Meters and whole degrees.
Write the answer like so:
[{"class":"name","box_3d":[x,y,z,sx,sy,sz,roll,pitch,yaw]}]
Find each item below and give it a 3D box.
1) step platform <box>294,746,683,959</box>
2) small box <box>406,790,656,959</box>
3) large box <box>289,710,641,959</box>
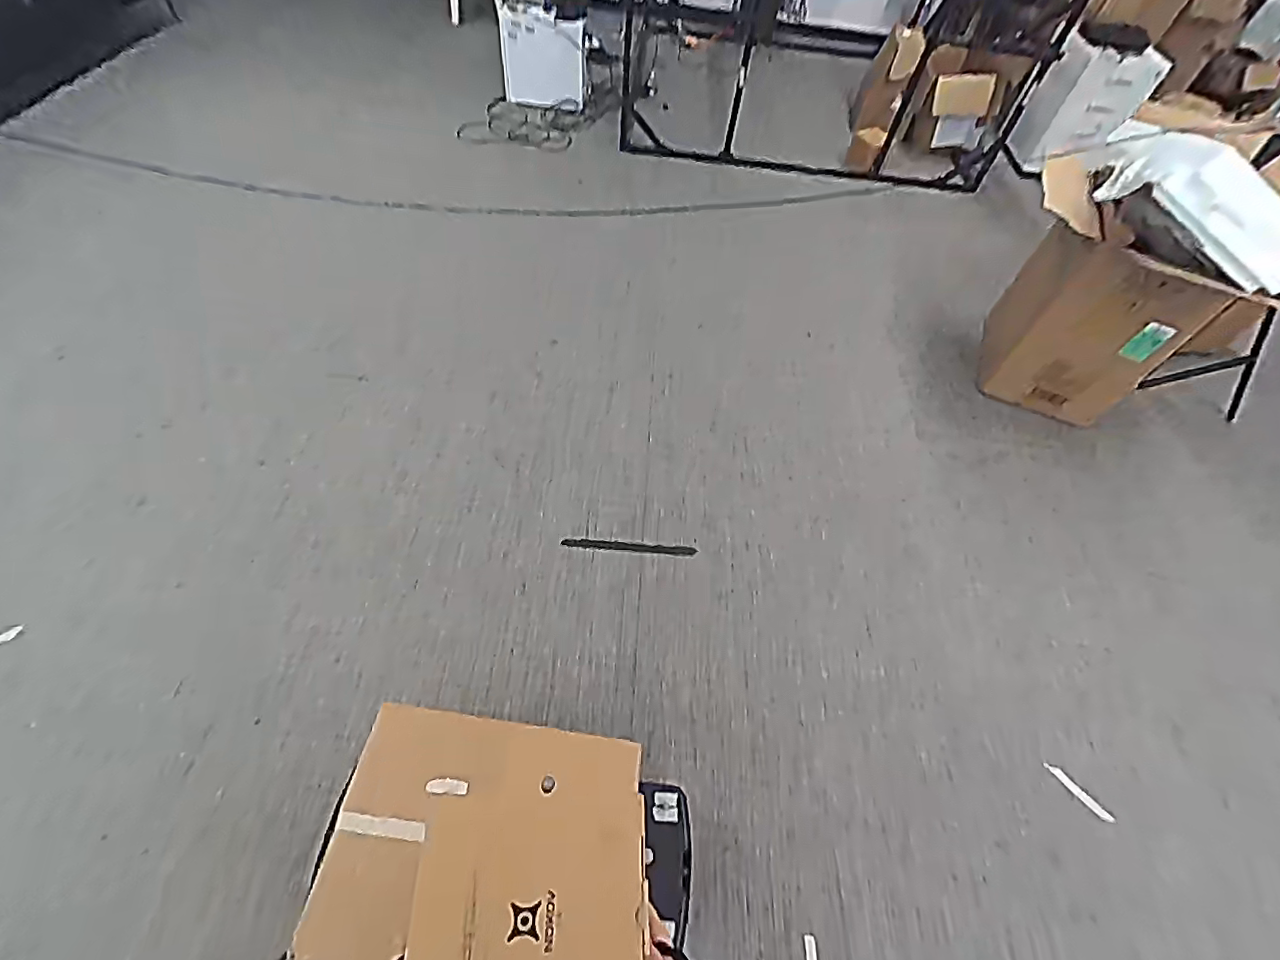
[{"class":"step platform","box_3d":[-0.261,0.726,1.034,0.684,0.204,0.286,10,54,3]},{"class":"small box","box_3d":[-0.083,0.361,0.456,0.179,0.176,0.168,3,56,-5]},{"class":"large box","box_3d":[-0.219,0.581,0.848,0.408,0.320,0.320,8,53,1]}]
